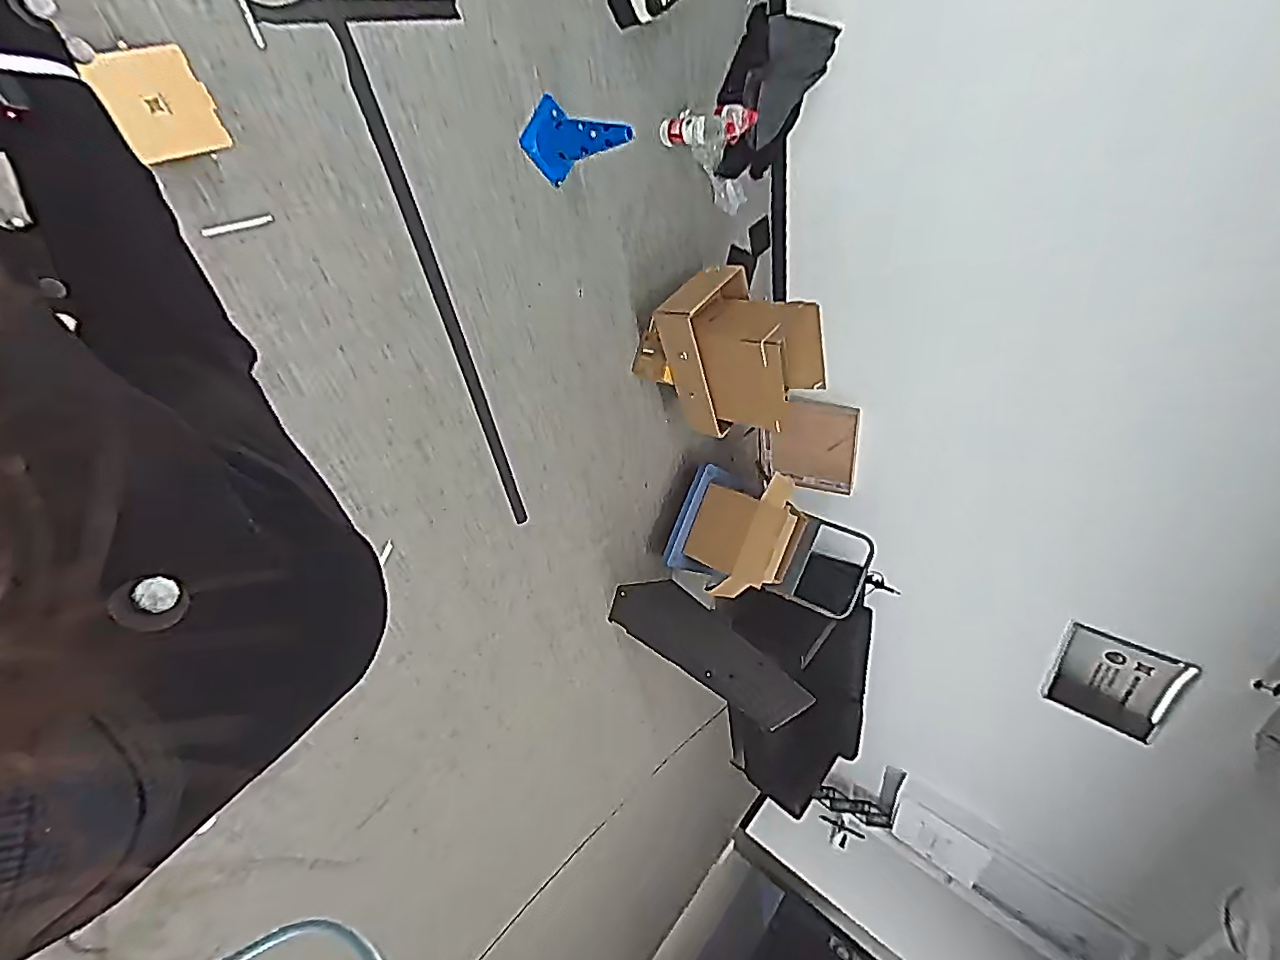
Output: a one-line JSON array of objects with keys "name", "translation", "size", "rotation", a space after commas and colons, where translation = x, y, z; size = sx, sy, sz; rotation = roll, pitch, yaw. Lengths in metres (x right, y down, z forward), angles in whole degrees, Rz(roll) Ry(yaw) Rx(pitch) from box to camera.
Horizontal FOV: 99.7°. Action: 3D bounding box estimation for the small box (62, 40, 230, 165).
[{"name": "small box", "translation": [-0.953, -0.724, 1.047], "size": [0.179, 0.176, 0.168], "rotation": [-40, 135, -30]}]
